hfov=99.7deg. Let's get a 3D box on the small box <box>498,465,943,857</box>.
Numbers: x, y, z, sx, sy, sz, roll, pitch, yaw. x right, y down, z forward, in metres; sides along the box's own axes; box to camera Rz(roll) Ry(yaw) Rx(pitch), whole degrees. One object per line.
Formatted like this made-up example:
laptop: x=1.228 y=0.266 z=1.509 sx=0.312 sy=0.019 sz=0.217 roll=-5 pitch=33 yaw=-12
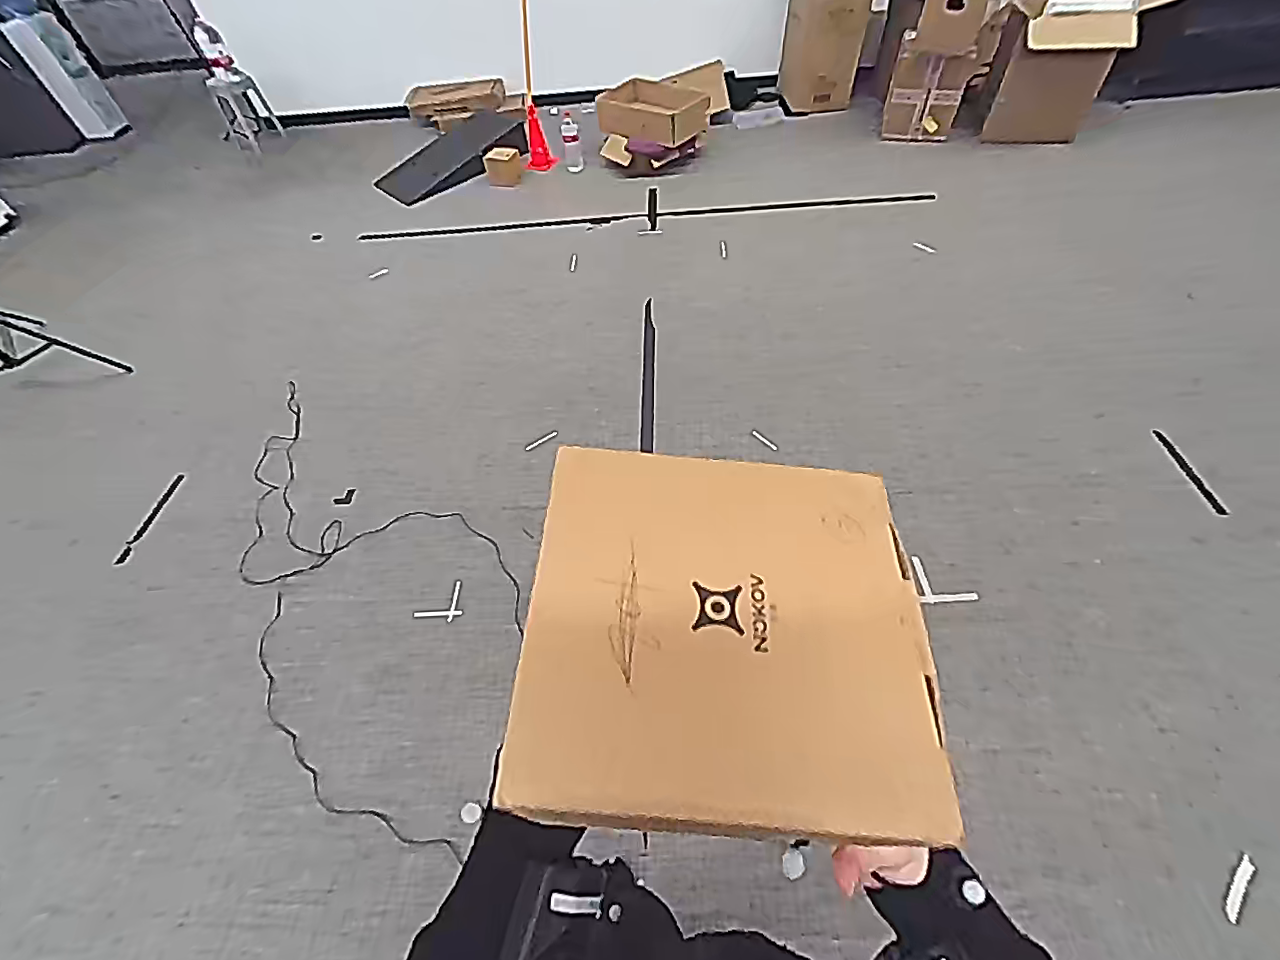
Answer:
small box: x=0.033 y=0.111 z=0.317 sx=0.179 sy=0.176 sz=0.168 roll=5 pitch=56 yaw=0
